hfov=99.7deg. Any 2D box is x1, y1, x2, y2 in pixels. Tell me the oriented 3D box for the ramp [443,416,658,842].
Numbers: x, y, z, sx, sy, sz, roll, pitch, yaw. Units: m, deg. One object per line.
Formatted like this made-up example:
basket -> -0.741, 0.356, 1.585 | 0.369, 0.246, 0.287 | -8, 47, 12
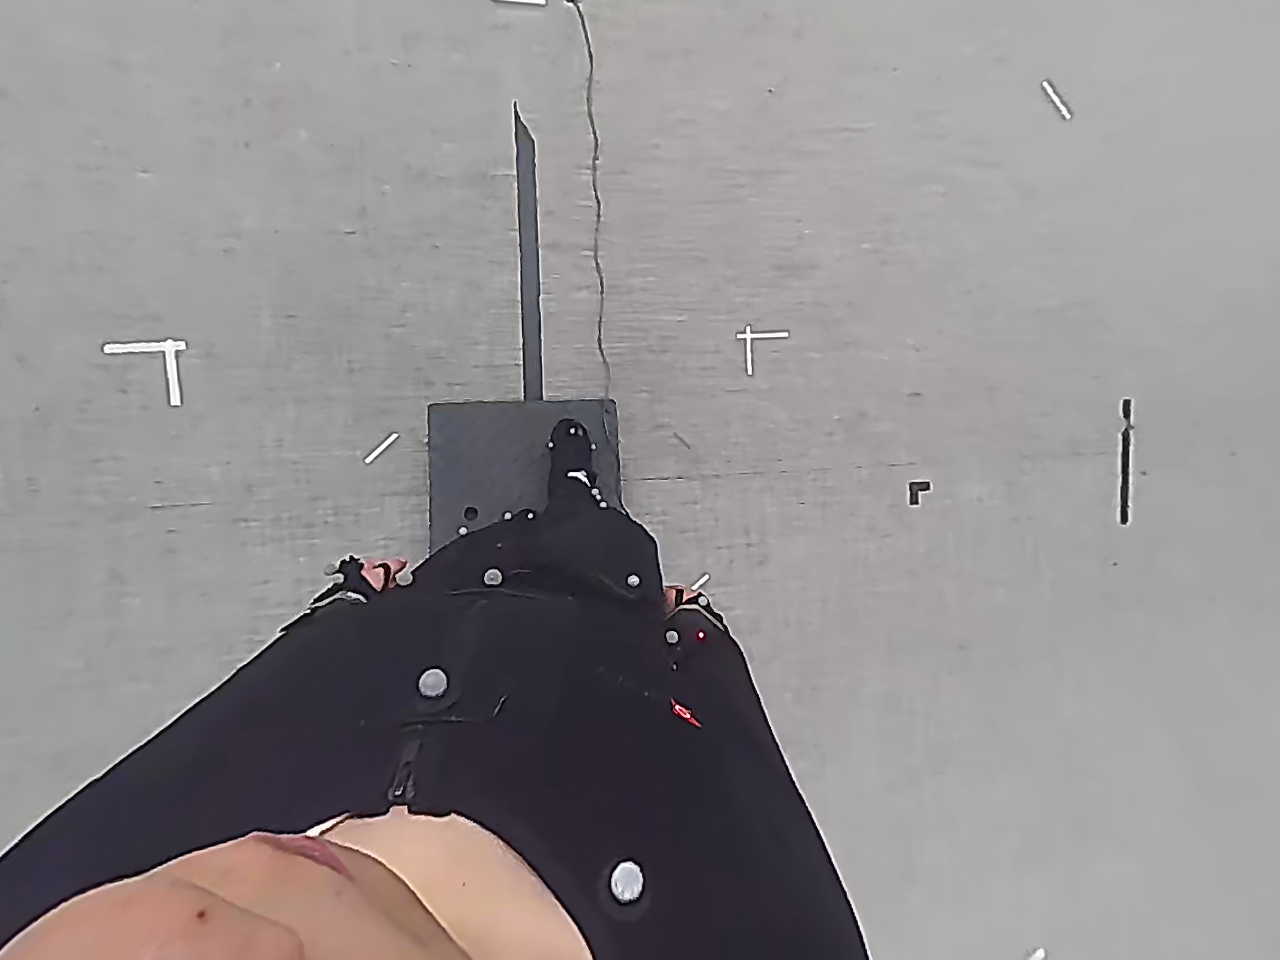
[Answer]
ramp -> -0.238, 0.328, 1.359 | 0.509, 0.206, 0.991 | -5, 90, -7
